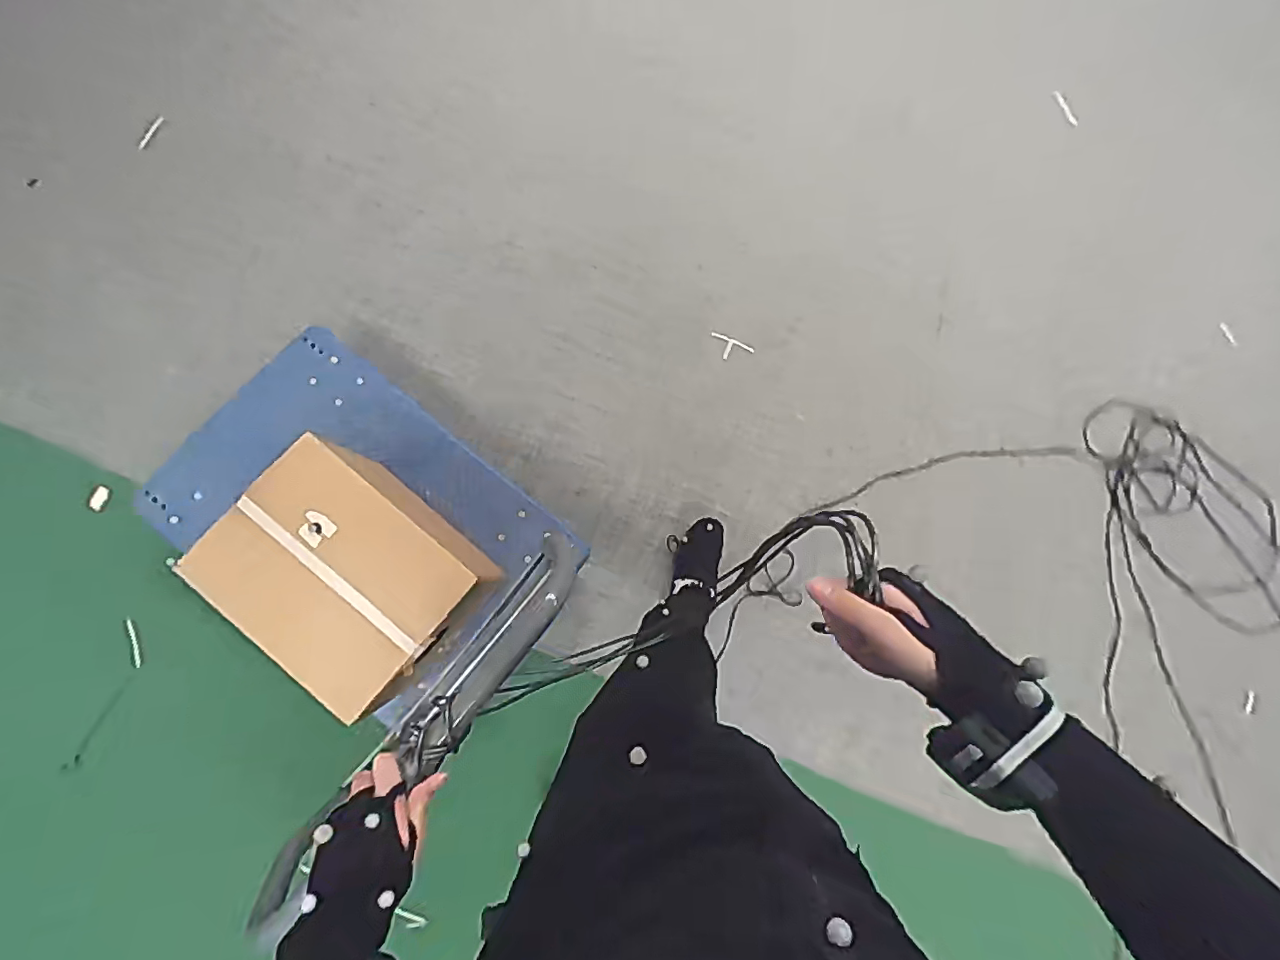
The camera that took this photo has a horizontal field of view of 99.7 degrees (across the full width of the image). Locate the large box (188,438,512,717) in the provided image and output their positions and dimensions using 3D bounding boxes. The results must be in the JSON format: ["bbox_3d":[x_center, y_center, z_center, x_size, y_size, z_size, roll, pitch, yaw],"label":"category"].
[{"bbox_3d":[-0.526,0.183,1.073,0.408,0.320,0.320,39,80,4],"label":"large box"}]
